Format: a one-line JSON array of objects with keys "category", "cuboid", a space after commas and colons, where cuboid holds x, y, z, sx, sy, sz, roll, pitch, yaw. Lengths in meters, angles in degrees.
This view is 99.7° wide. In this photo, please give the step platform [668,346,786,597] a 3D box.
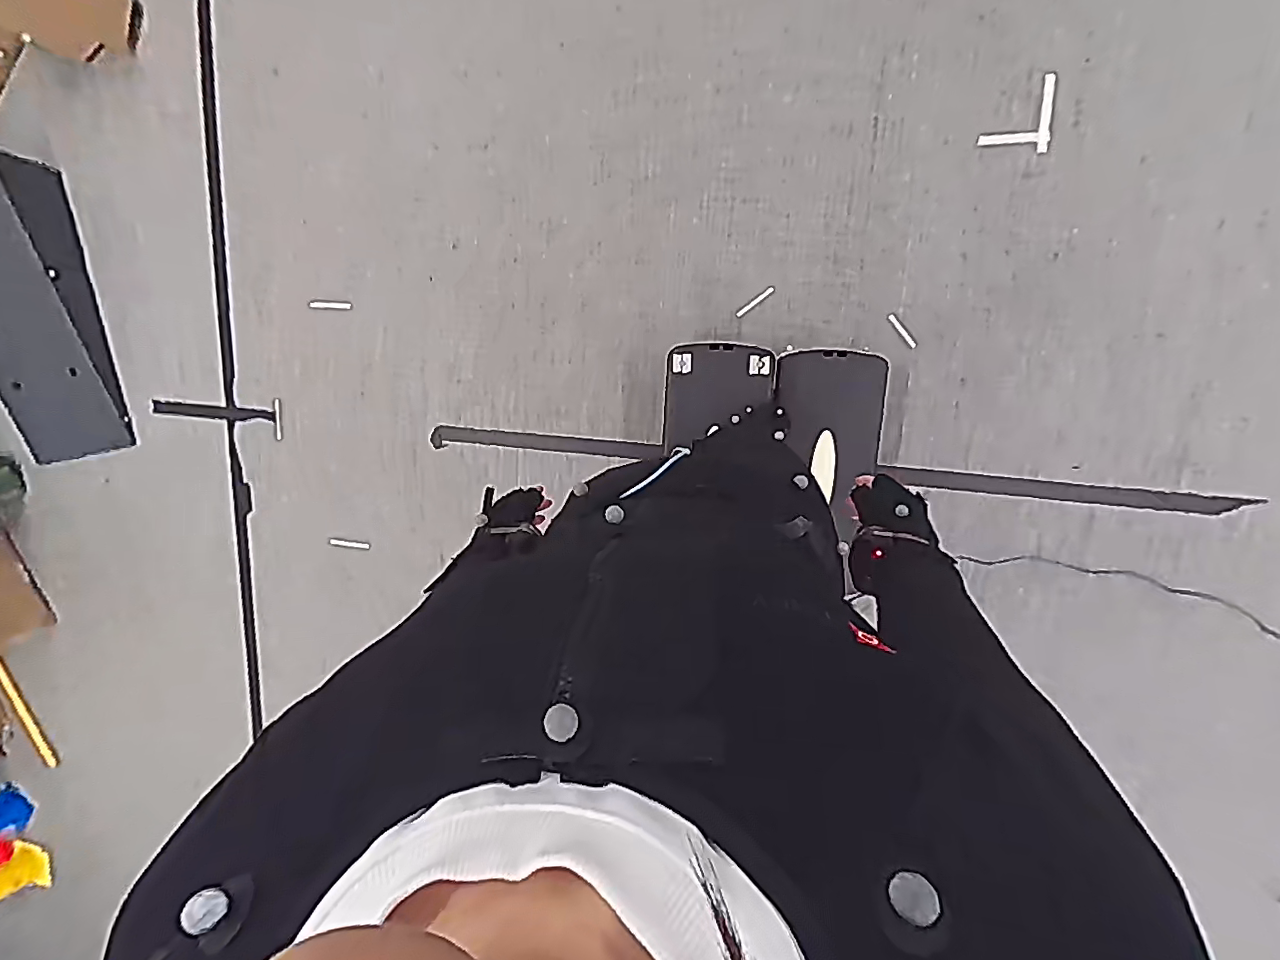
[{"category": "step platform", "cuboid": [0.234, -0.022, 1.500, 0.286, 0.204, 0.684, 4, 98, 10]}]
